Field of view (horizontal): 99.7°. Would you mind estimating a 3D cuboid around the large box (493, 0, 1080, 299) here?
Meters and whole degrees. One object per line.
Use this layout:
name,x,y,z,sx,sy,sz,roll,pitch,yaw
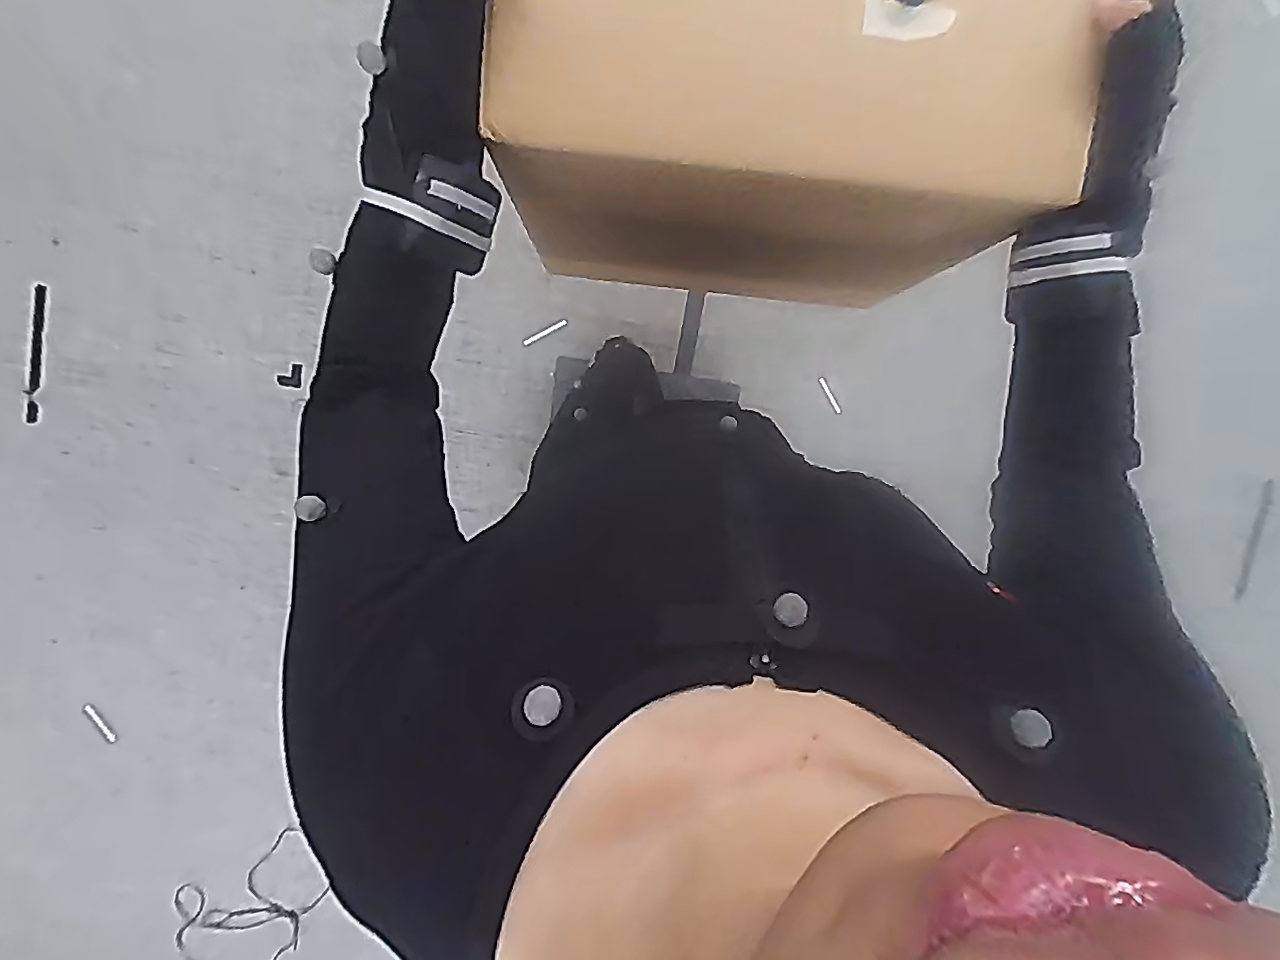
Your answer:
large box,0.100,-0.379,0.512,0.408,0.320,0.320,5,95,-3
